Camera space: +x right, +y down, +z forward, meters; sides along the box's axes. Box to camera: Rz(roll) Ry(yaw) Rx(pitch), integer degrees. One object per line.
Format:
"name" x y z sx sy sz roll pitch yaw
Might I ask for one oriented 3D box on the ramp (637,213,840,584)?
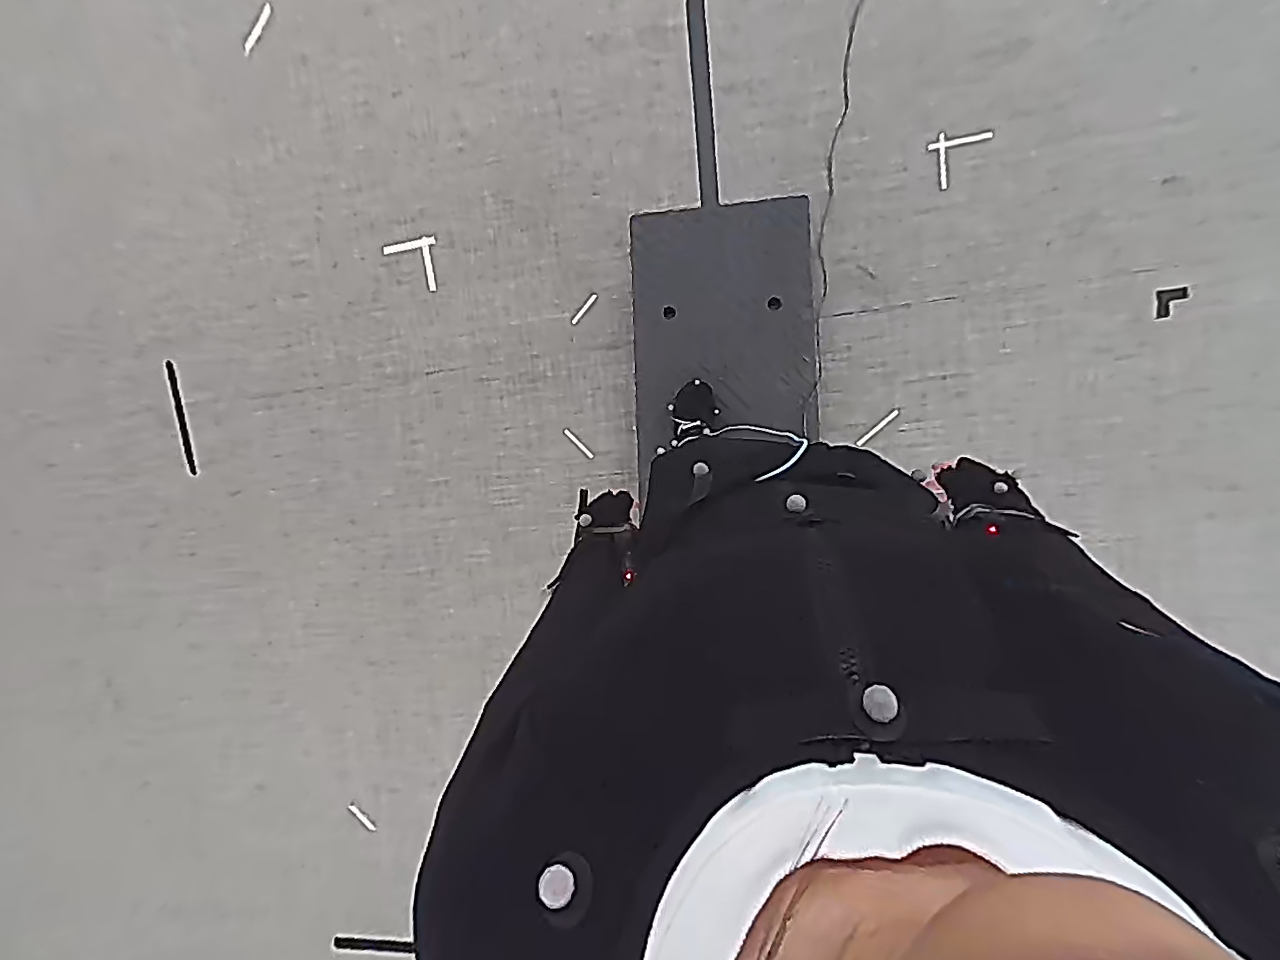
"ramp" 0.251 -0.225 1.484 0.509 0.206 0.991 -6 94 11
